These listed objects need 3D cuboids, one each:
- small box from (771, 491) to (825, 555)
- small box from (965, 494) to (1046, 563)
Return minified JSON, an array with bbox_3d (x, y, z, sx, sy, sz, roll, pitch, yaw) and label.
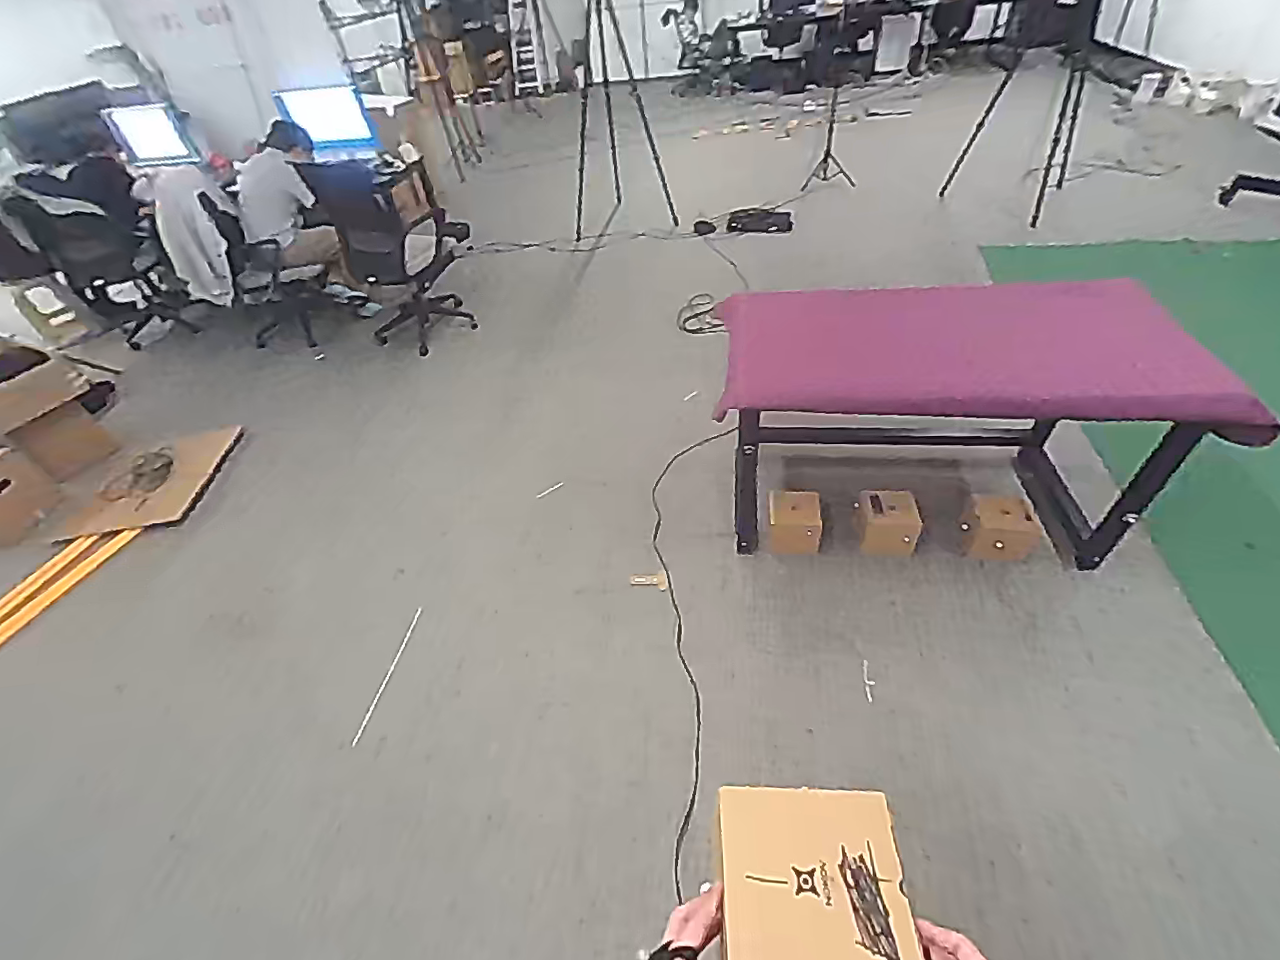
[{"bbox_3d":[0.568,0.158,1.965,0.179,0.176,0.168,2,45,10],"label":"small box"},{"bbox_3d":[1.235,0.166,1.847,0.179,0.176,0.168,4,46,13],"label":"small box"}]
